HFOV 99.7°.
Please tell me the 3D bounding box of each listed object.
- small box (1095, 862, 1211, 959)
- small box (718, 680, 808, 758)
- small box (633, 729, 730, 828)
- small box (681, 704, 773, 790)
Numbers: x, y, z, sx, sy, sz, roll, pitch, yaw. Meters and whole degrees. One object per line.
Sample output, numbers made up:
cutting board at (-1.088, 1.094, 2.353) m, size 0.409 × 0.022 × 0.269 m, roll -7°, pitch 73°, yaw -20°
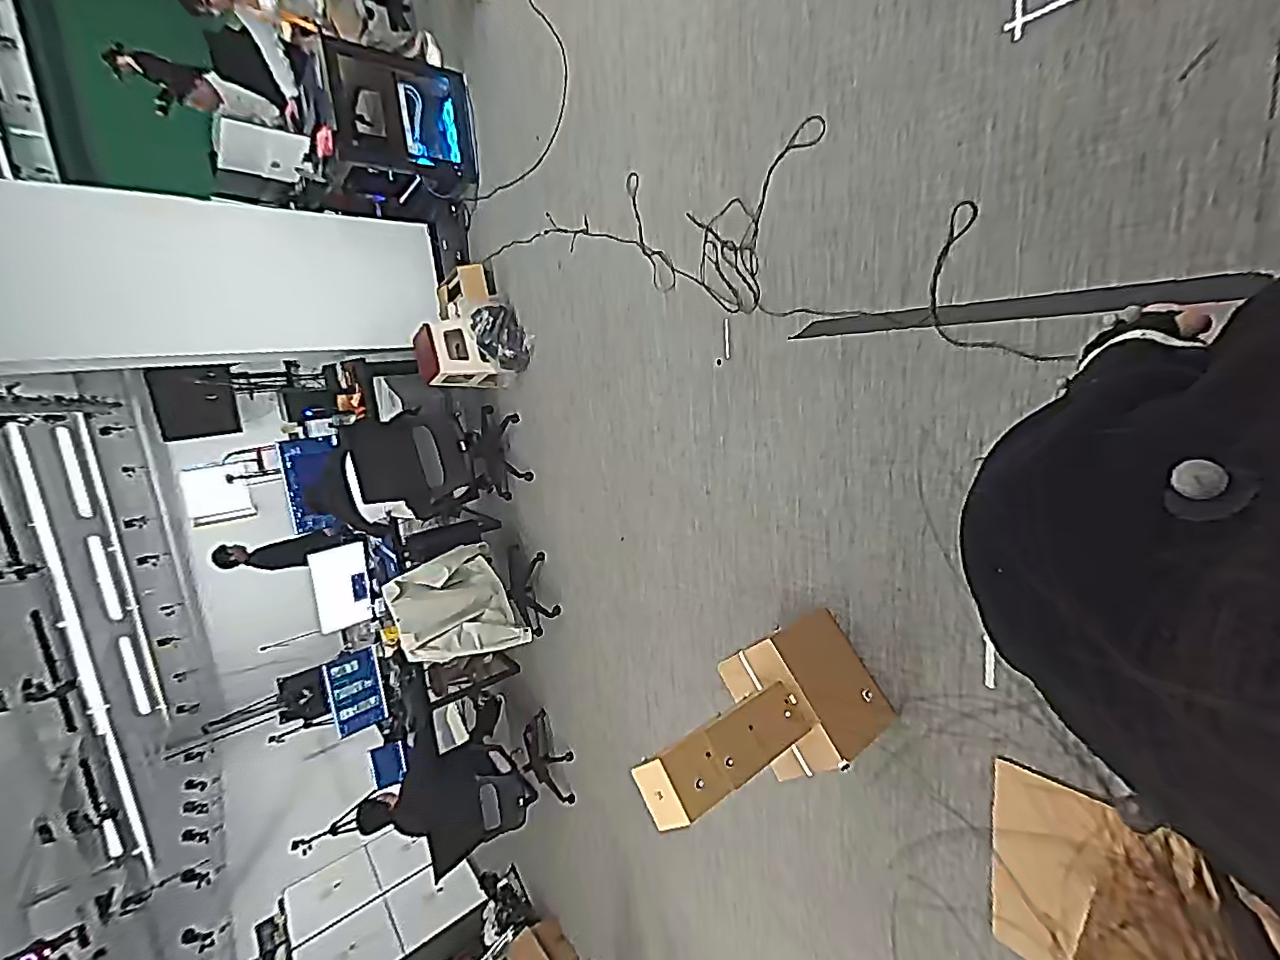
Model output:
small box at (1.156, 1.025, 1.217) m, size 0.168 × 0.176 × 0.179 m, roll -5°, pitch 97°, yaw 51°
small box at (0.374, 0.737, 1.644) m, size 0.168 × 0.176 × 0.179 m, roll 60°, pitch 140°, yaw 21°
small box at (0.117, 0.795, 1.450) m, size 0.168 × 0.176 × 0.179 m, roll 60°, pitch 140°, yaw 21°
small box at (0.244, 0.769, 1.548) m, size 0.168 × 0.176 × 0.179 m, roll 60°, pitch 141°, yaw 20°
